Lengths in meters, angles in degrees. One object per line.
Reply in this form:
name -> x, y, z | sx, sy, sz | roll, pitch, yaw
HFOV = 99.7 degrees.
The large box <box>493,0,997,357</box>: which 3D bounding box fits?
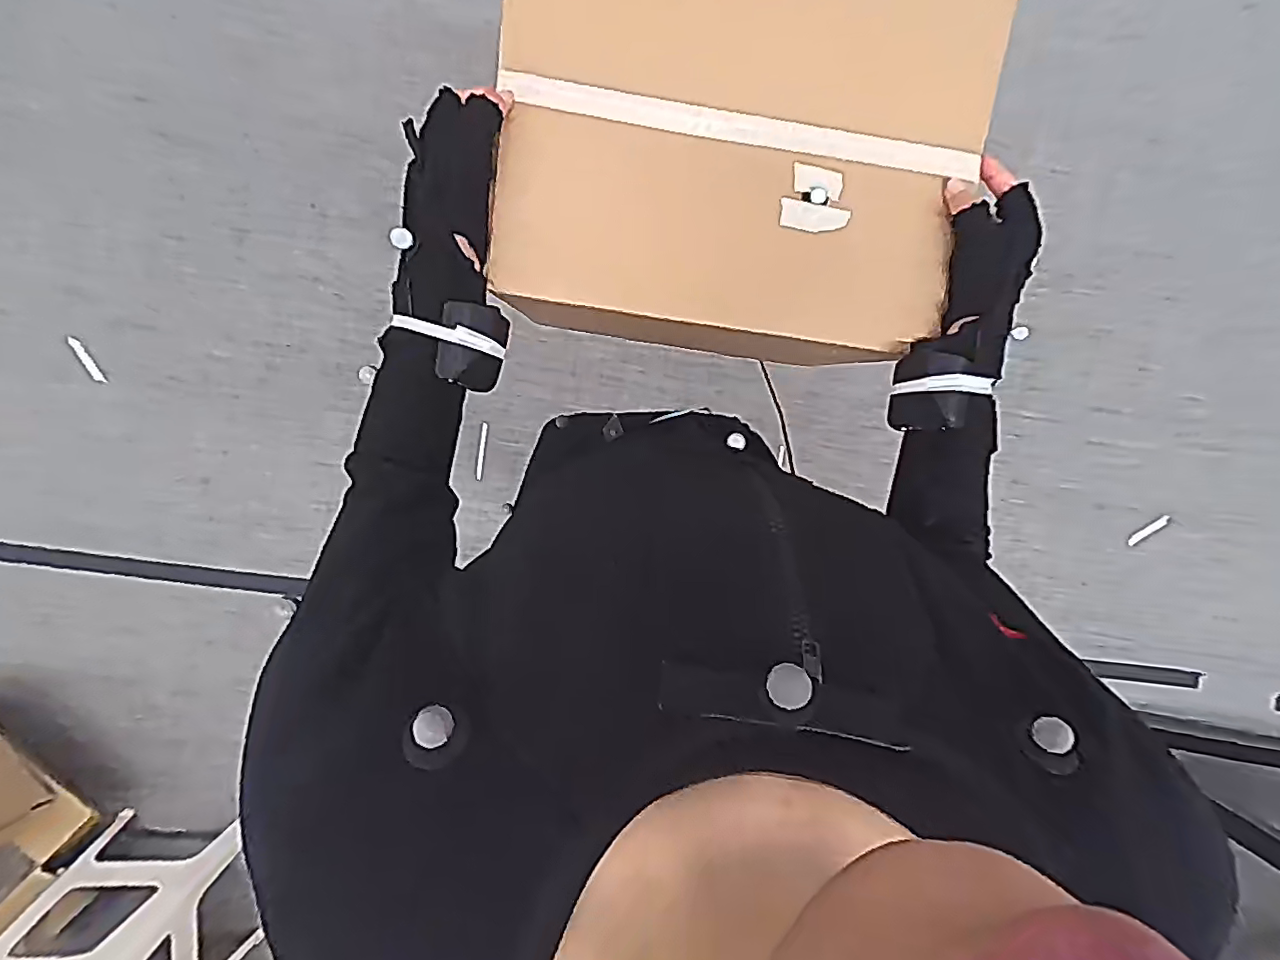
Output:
large box -> 0.075, -0.322, 0.606 | 0.408, 0.320, 0.320 | 7, 102, -5
